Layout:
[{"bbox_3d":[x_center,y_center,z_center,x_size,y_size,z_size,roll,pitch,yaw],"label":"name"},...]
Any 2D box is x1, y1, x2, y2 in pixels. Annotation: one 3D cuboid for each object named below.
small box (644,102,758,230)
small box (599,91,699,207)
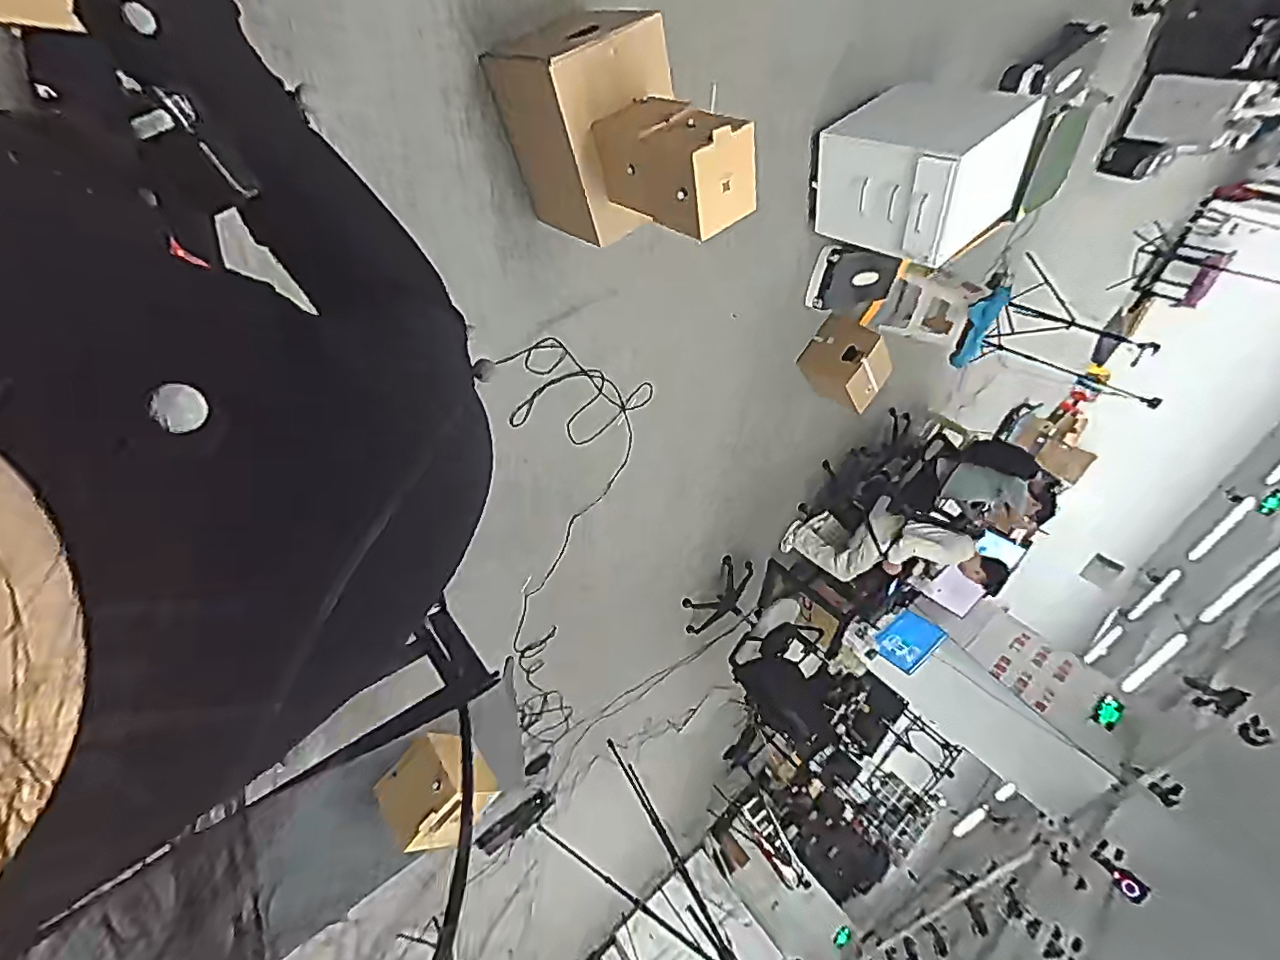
[{"bbox_3d":[0.131,-0.668,1.146,0.168,0.176,0.179,-37,141,-16],"label":"small box"},{"bbox_3d":[0.028,-0.760,1.232,0.168,0.176,0.179,-38,142,-16],"label":"small box"}]
